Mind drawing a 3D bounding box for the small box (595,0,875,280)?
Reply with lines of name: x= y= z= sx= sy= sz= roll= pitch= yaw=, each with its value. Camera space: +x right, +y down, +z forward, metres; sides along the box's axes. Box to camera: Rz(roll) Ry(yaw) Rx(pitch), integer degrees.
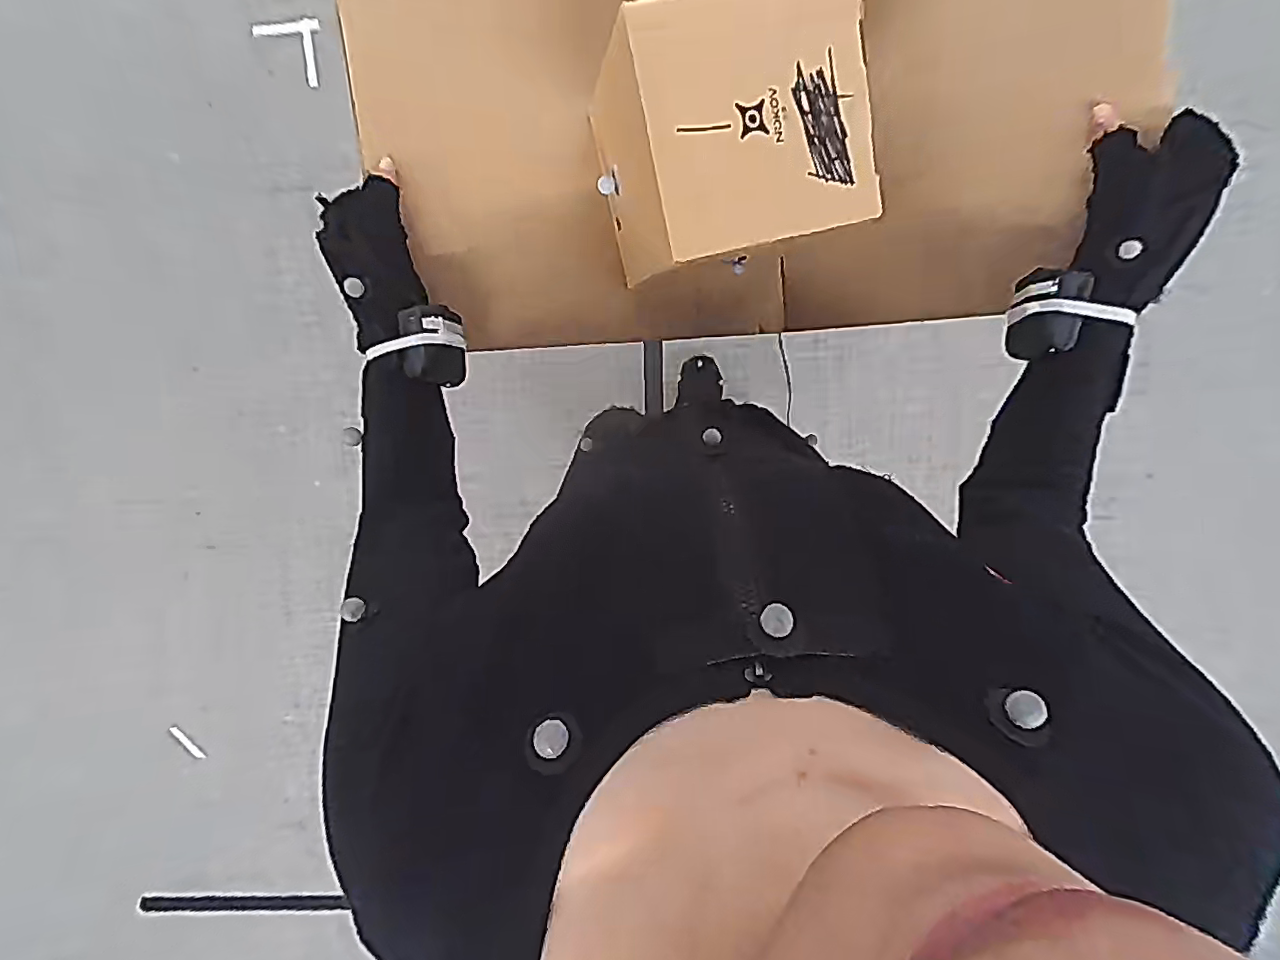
small box: x=0.071 y=-0.285 z=0.472 sx=0.179 sy=0.176 sz=0.168 roll=-16 pitch=104 yaw=-8
